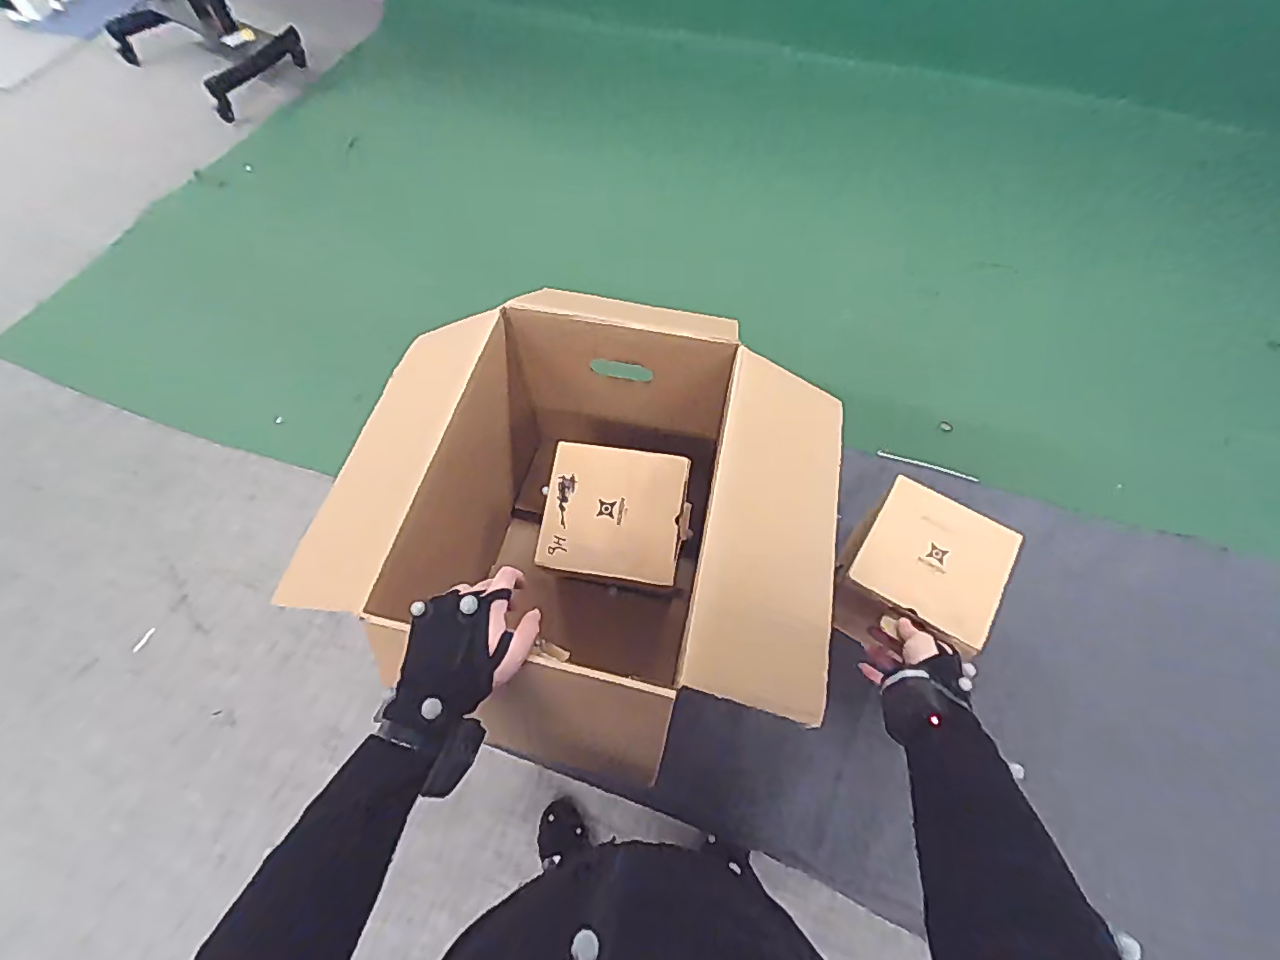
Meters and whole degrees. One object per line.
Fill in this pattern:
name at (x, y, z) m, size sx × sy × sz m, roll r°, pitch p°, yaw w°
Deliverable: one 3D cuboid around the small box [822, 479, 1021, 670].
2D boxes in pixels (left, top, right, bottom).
small box at (0.373, 0.137, 0.747) m, size 0.168 × 0.176 × 0.179 m, roll 31°, pitch 65°, yaw 15°
